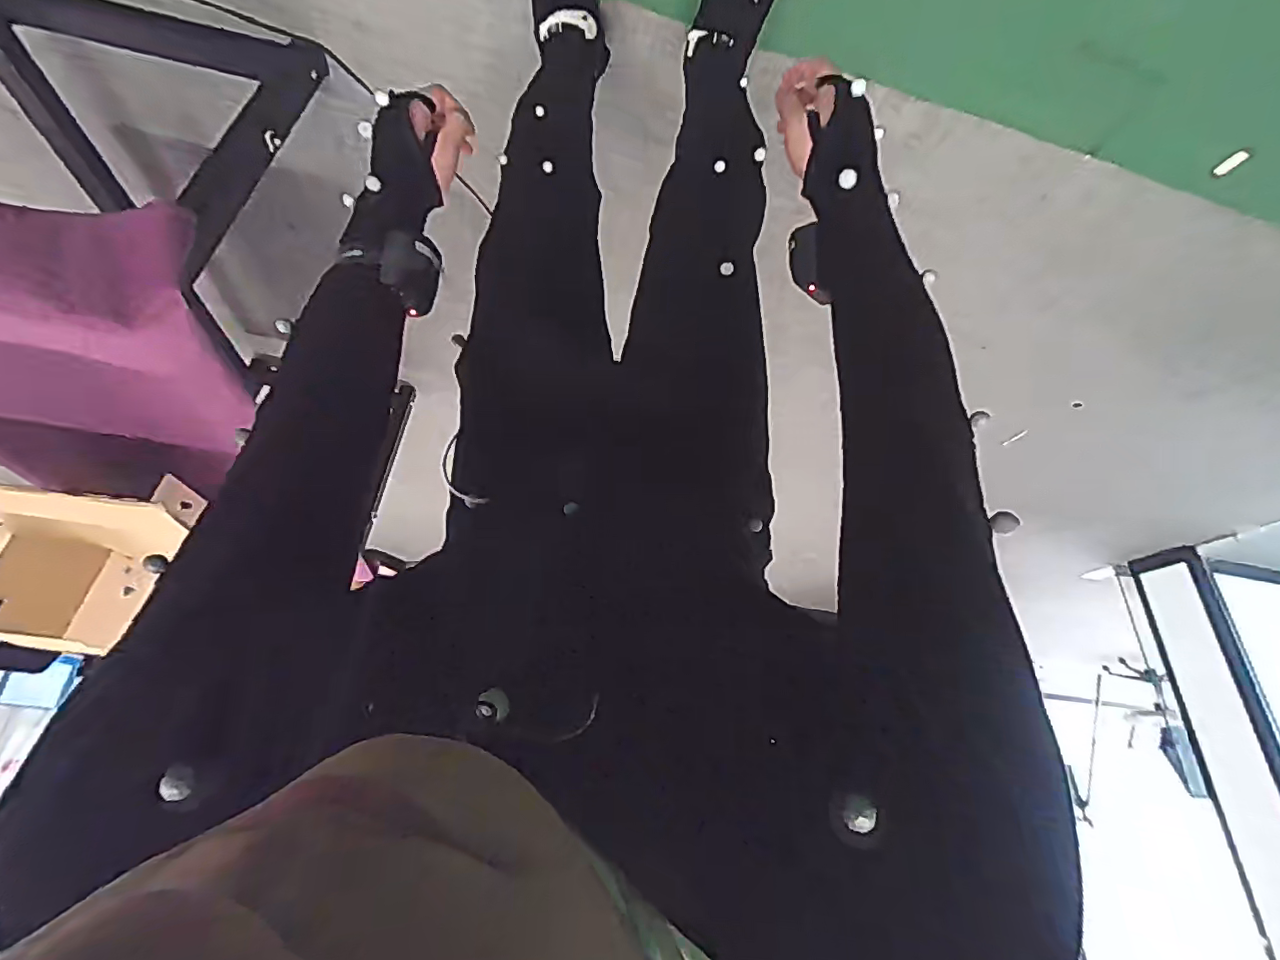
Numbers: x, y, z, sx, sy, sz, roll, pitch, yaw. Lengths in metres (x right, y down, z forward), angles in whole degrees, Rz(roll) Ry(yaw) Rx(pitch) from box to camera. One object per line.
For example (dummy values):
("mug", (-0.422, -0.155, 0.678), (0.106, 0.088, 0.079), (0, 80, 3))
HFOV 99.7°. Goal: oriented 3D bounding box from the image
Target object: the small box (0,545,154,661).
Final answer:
("small box", (-1.095, 0.233, 1.024), (0.179, 0.176, 0.168), (9, 151, -8))
